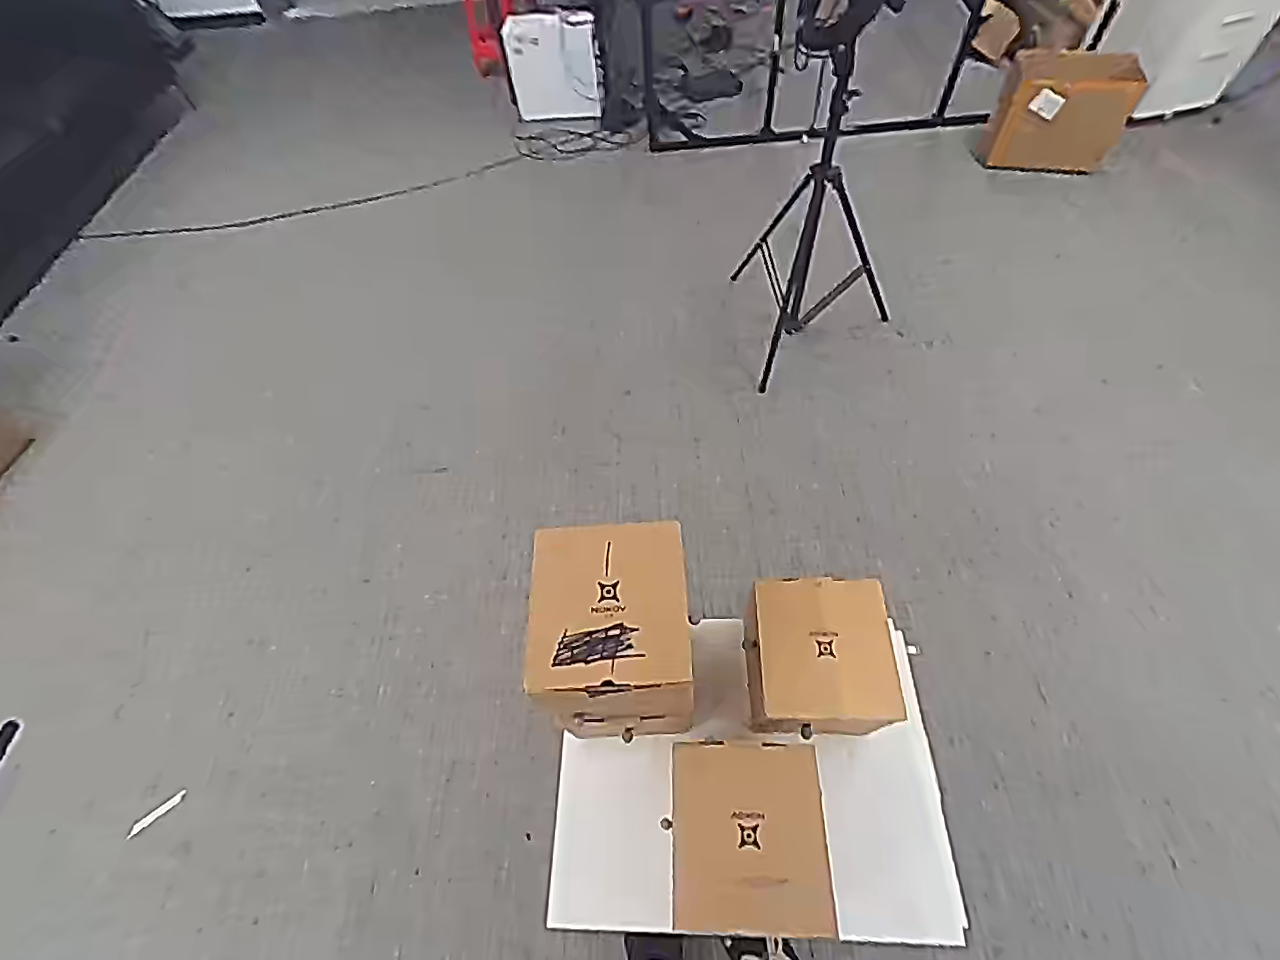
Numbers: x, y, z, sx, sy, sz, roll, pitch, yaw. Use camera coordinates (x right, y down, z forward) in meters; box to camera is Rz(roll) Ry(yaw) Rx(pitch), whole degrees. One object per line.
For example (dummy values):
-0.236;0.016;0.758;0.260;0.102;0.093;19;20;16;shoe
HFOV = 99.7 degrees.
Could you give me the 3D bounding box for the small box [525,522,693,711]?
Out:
-0.026;0.166;0.629;0.168;0.176;0.179;-4;58;3;small box
